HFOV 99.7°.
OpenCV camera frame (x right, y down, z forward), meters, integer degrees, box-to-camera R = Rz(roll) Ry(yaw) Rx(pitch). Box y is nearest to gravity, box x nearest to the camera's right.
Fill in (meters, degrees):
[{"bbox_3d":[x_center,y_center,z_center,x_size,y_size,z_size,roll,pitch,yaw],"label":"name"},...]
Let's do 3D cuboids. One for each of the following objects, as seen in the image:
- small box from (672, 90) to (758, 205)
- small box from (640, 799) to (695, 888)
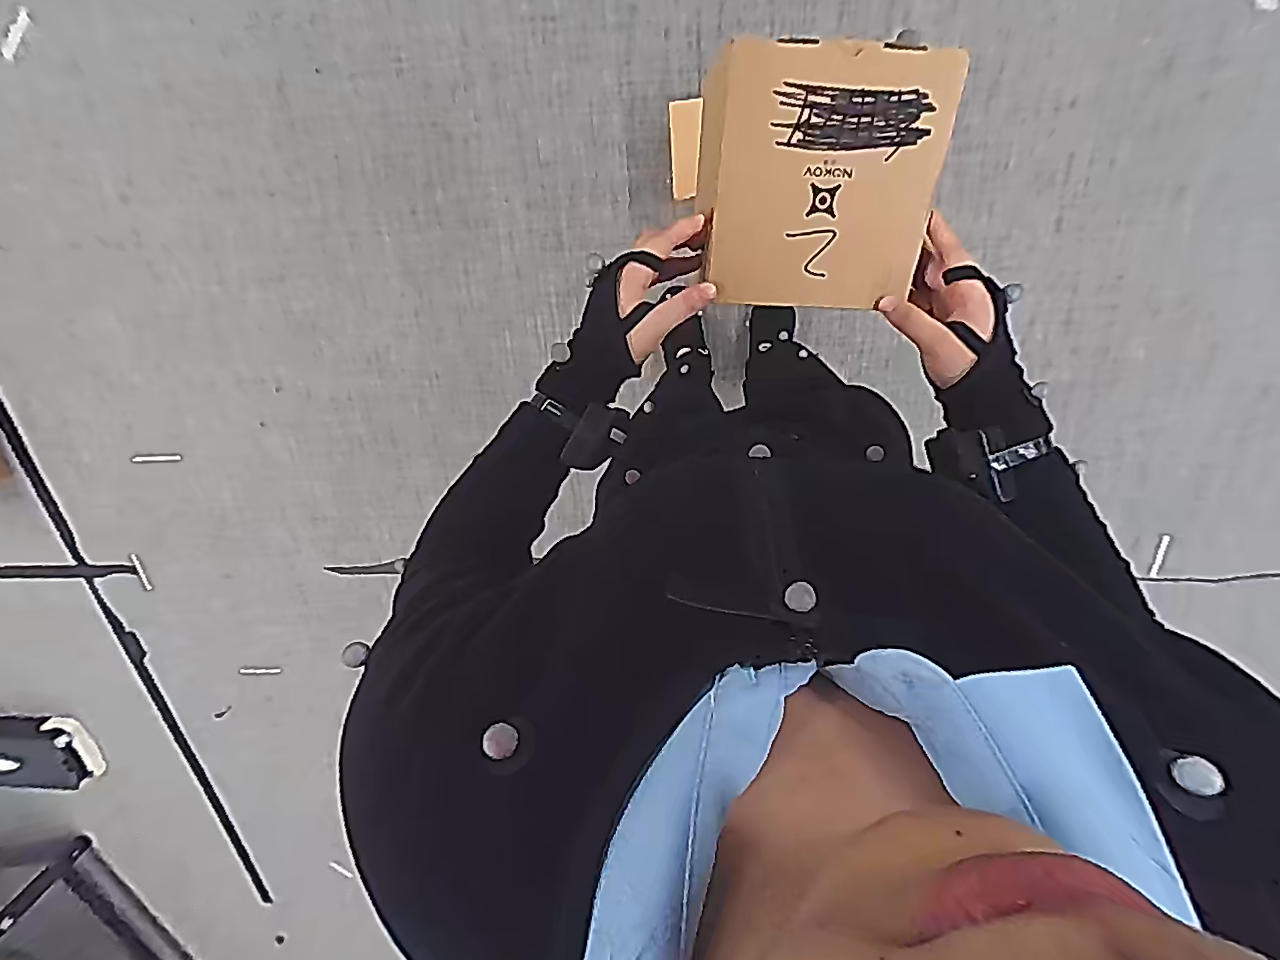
[{"bbox_3d":[0.156,-0.700,1.156,0.168,0.176,0.179,-4,113,5],"label":"small box"},{"bbox_3d":[0.088,1.157,1.724,0.168,0.176,0.179,0,112,2],"label":"small box"}]
